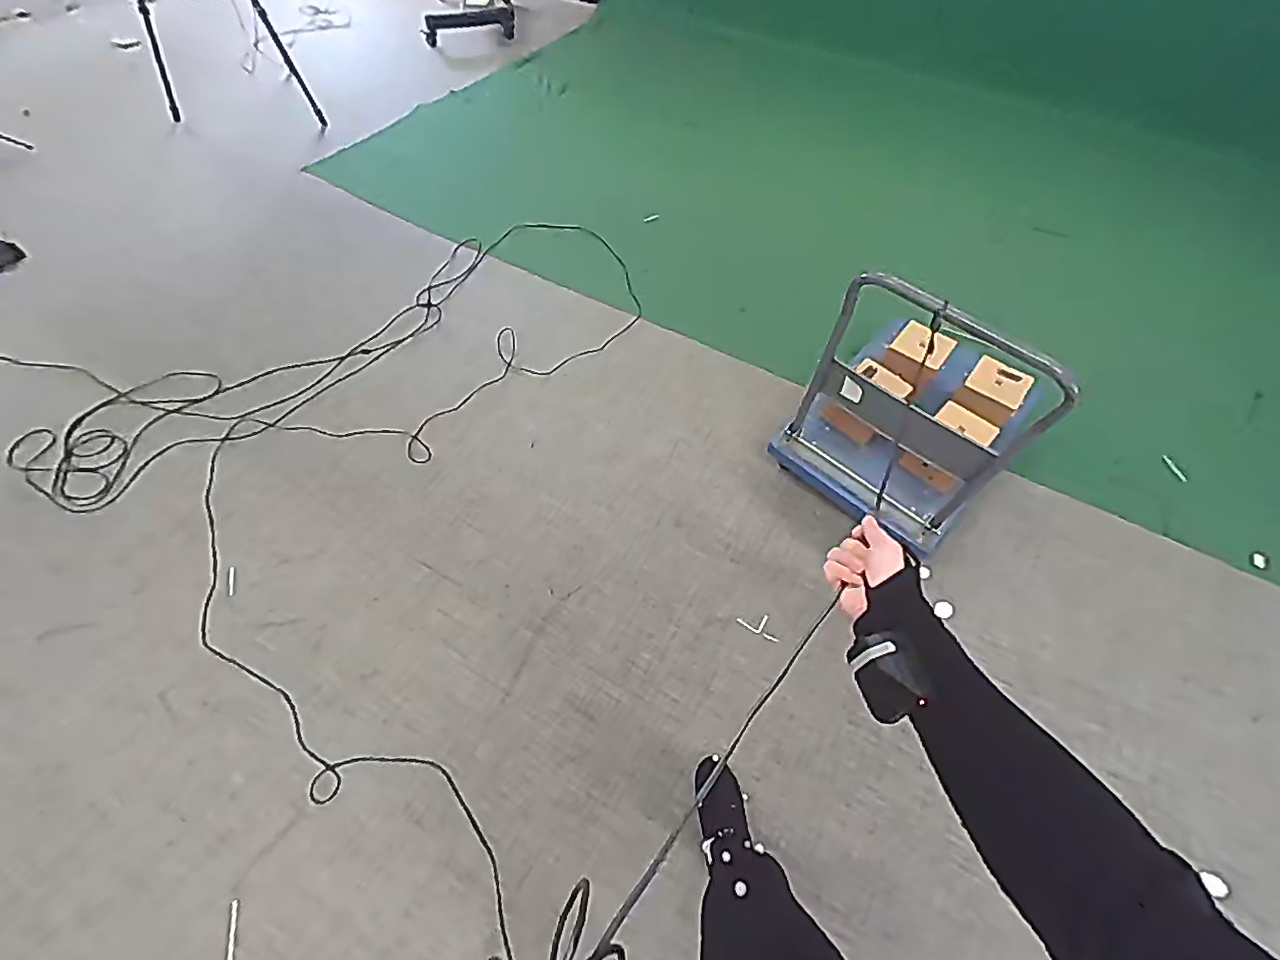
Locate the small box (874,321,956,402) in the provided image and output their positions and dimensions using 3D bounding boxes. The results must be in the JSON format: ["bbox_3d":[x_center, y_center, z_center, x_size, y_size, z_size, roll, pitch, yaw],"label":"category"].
[{"bbox_3d":[0.926,-0.399,1.838,0.168,0.176,0.179,36,63,19],"label":"small box"}]

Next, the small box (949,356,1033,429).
[{"bbox_3d":[1.121,-0.263,1.755,0.168,0.176,0.179,35,63,20],"label":"small box"}]

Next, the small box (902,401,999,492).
[{"bbox_3d":[0.935,-0.099,1.645,0.168,0.176,0.179,40,65,21],"label":"small box"}]
